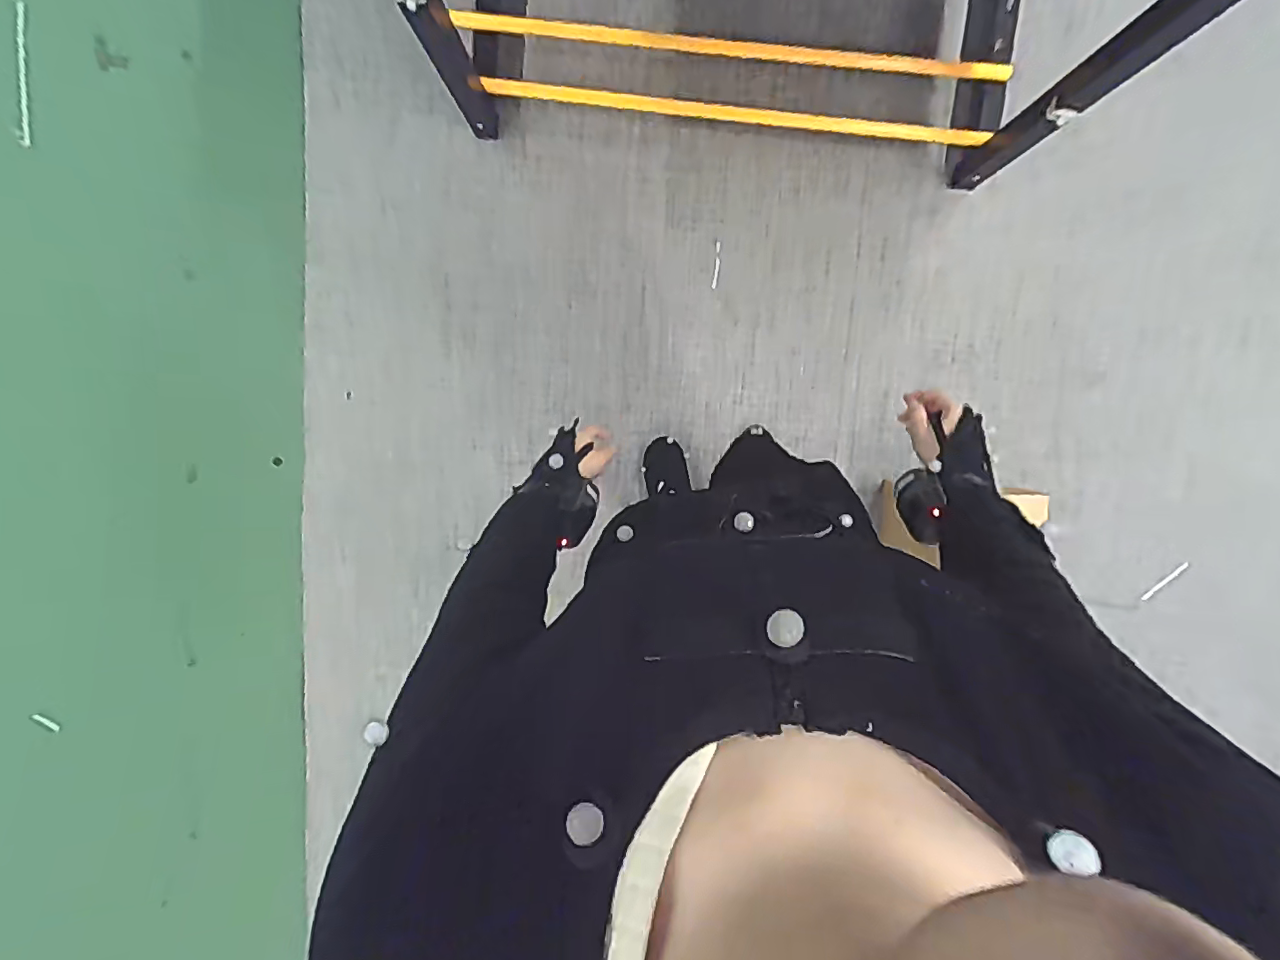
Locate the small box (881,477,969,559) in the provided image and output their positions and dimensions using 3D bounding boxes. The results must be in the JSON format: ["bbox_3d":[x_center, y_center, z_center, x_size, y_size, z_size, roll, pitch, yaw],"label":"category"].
[{"bbox_3d":[0.690,0.084,1.286,0.168,0.176,0.179,0,96,0],"label":"small box"}]

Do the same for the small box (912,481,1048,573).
[{"bbox_3d":[0.696,0.091,1.122,0.179,0.176,0.168,0,96,1],"label":"small box"}]
